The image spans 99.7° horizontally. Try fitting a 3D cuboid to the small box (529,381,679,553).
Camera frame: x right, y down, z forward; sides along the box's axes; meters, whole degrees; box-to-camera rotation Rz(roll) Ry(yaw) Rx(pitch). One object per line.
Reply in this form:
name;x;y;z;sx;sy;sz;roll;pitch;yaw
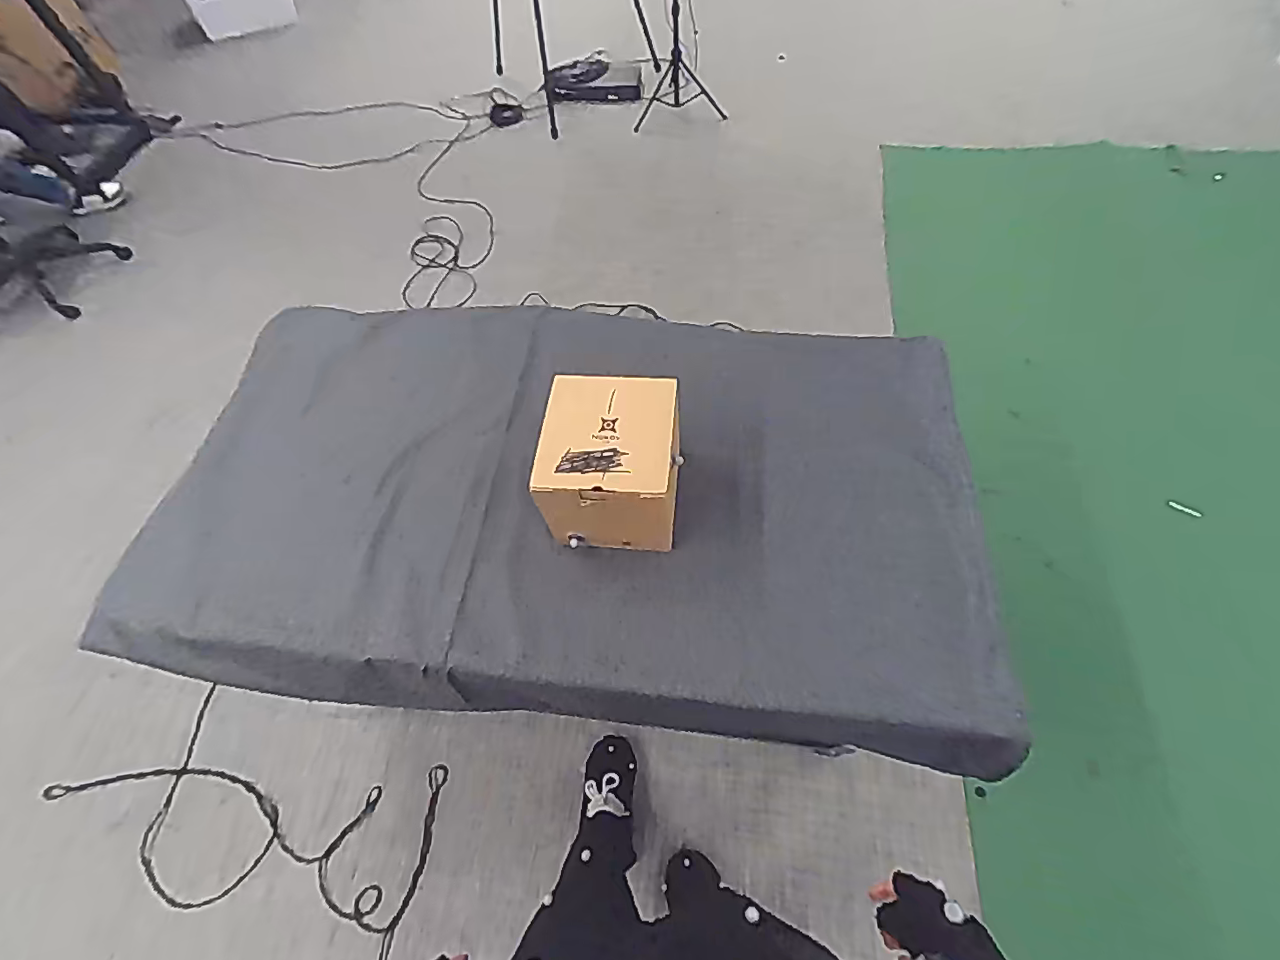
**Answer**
small box;-0.036;-0.012;0.735;0.168;0.176;0.179;3;59;7
